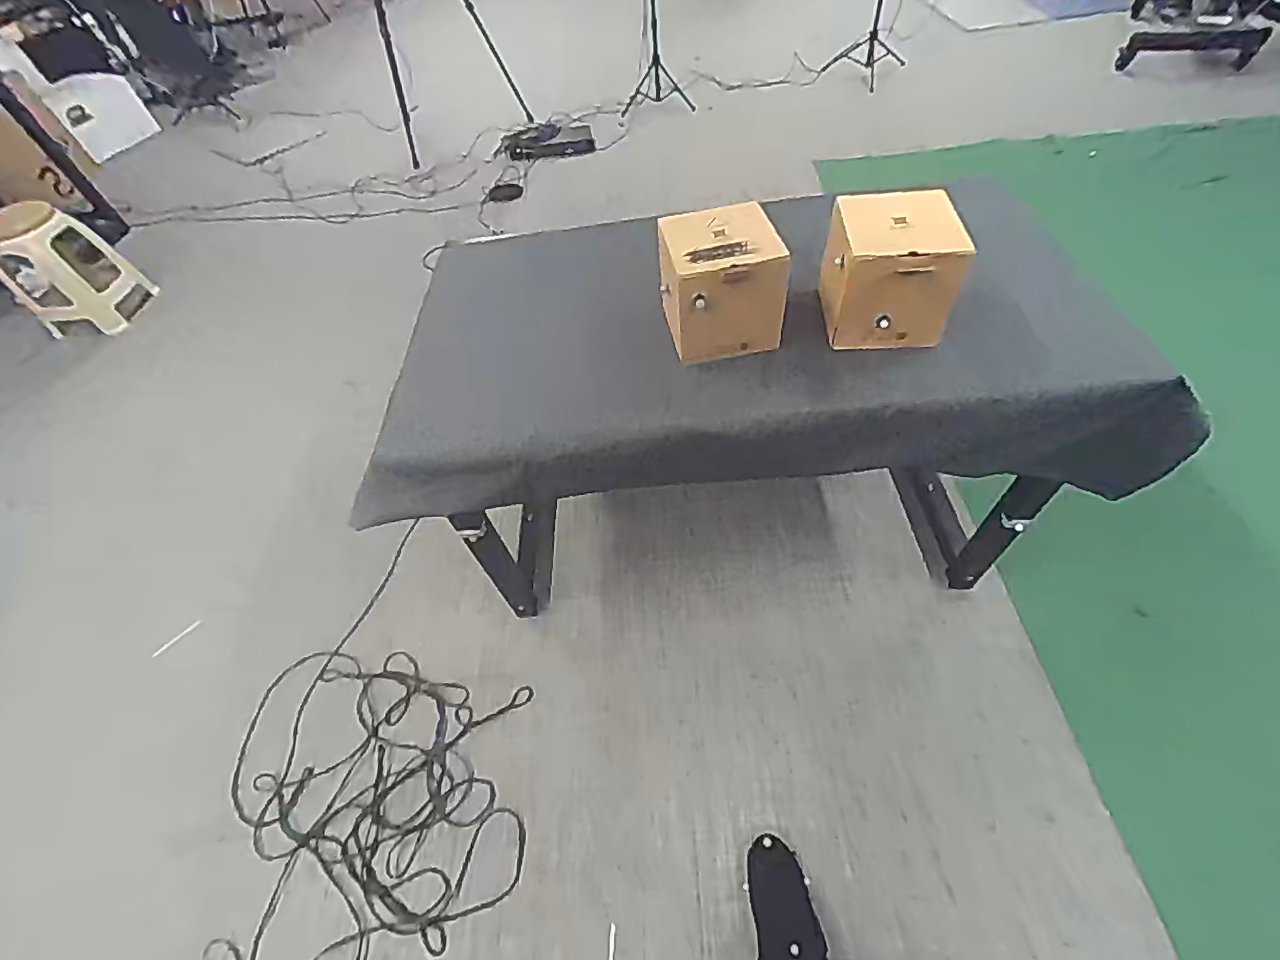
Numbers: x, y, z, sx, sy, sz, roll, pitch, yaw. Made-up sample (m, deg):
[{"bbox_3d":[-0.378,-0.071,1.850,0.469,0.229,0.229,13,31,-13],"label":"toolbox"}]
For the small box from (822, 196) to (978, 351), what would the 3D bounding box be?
[{"bbox_3d":[0.398,-0.328,0.865,0.168,0.176,0.179,0,54,6],"label":"small box"}]
